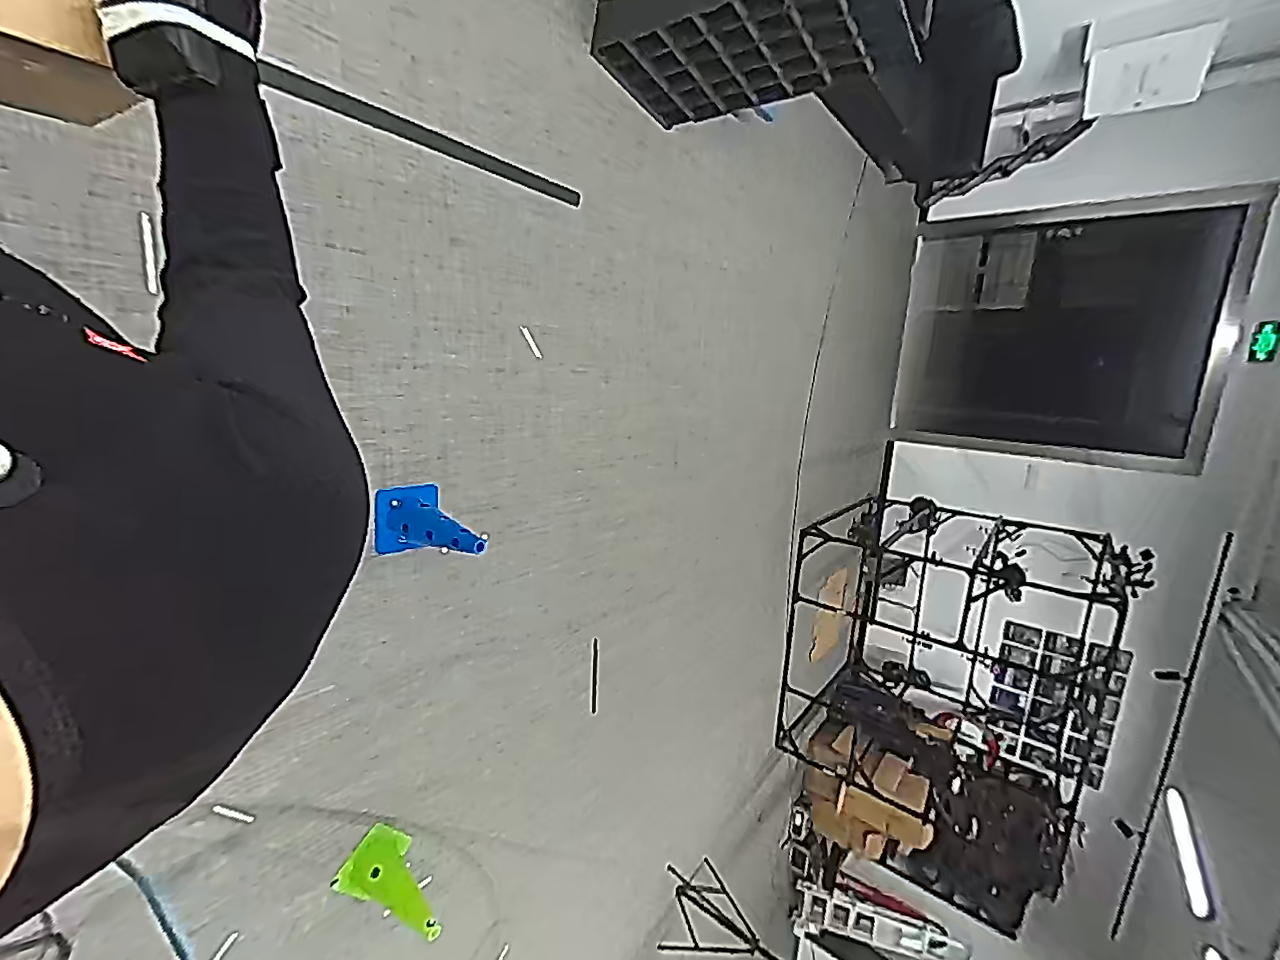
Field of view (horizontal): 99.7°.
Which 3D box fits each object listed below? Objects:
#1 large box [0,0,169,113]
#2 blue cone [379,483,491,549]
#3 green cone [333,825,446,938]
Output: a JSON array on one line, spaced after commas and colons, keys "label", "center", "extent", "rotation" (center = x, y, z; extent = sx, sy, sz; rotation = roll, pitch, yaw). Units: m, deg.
[{"label": "large box", "center": [-0.560, -0.451, 0.279], "extent": [0.408, 0.320, 0.320], "rotation": [-13, 117, -52]}, {"label": "blue cone", "center": [-0.567, 0.137, 1.545], "extent": [0.192, 0.380, 0.193], "rotation": [-7, 105, -53]}, {"label": "green cone", "center": [-0.713, 1.255, 1.633], "extent": [0.202, 0.368, 0.200], "rotation": [-54, 138, -31]}]
